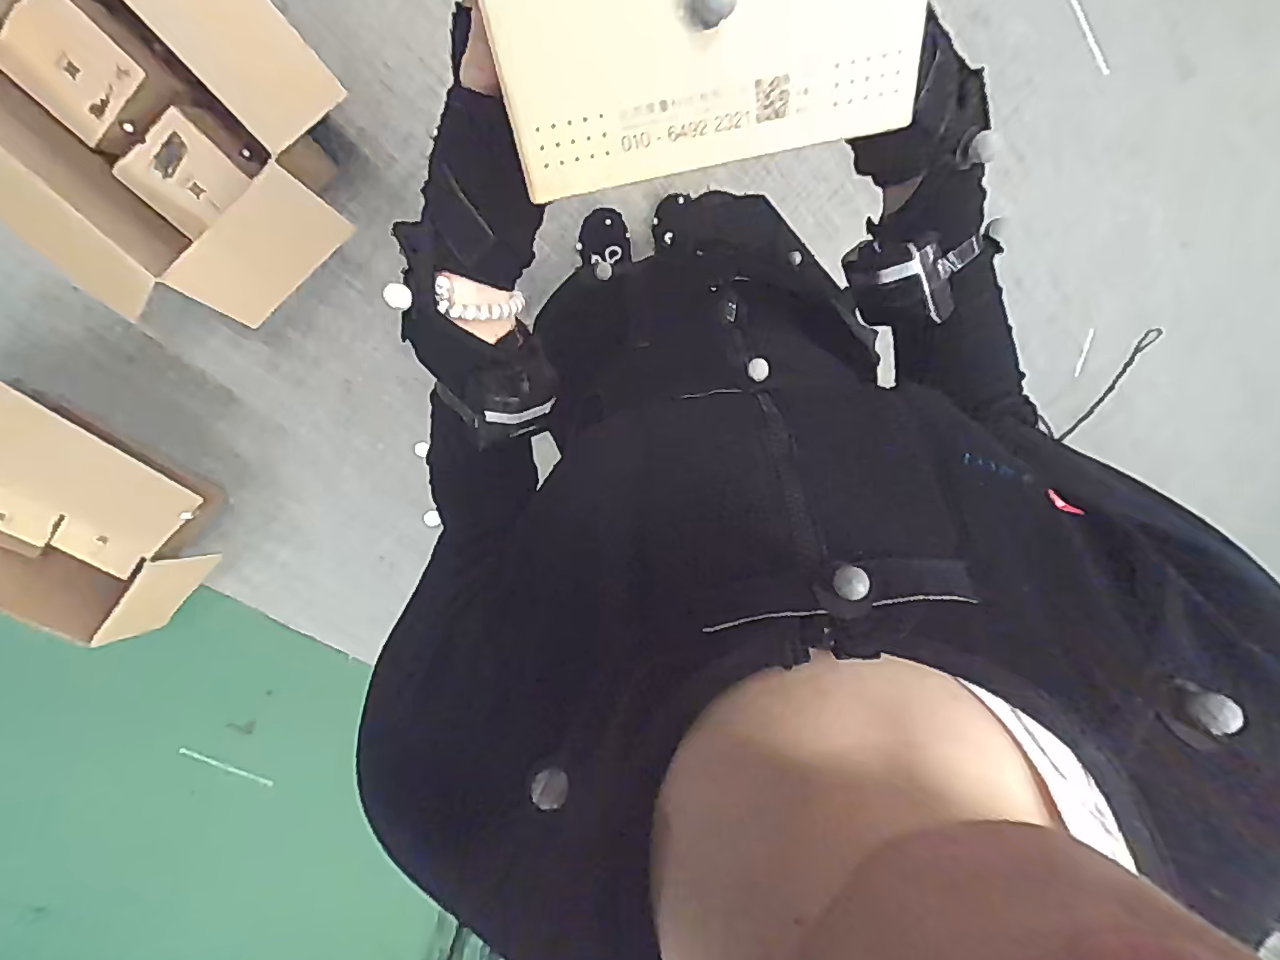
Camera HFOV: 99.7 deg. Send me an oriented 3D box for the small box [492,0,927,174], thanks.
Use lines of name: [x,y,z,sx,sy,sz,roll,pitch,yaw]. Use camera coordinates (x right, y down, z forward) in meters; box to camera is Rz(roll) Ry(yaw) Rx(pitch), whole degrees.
small box: [0.013,-0.251,0.241,0.168,0.179,0.176,-13,129,-1]
